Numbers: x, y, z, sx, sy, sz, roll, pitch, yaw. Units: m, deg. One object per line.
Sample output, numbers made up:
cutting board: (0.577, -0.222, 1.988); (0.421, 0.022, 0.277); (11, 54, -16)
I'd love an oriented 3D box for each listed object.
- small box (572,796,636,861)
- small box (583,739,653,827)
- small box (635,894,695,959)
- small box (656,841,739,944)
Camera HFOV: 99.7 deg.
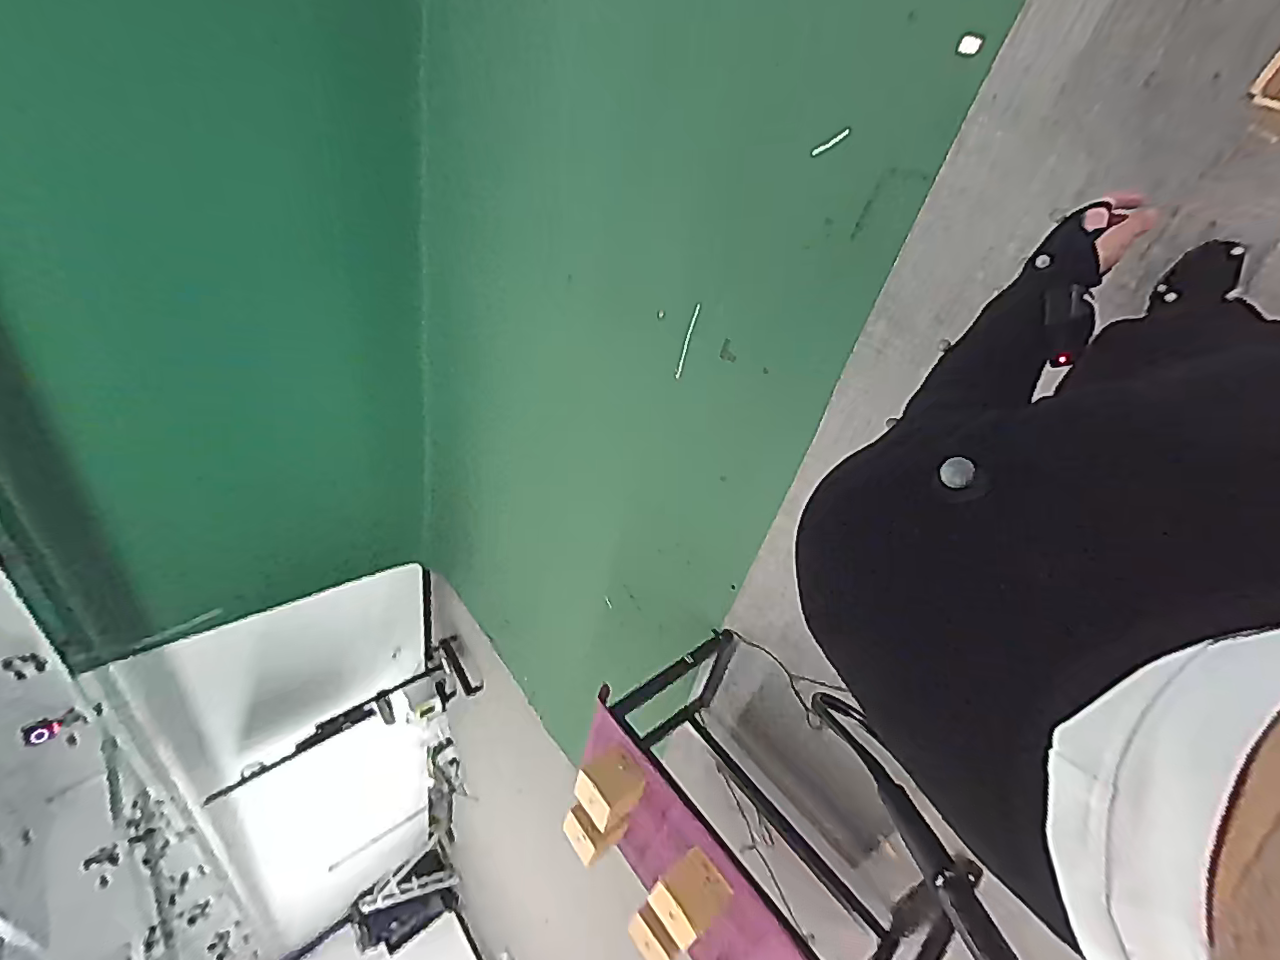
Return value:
small box: (-0.136, 1.293, 2.058); (0.168, 0.176, 0.179); (41, 133, 32)
small box: (-0.075, 1.047, 1.880); (0.168, 0.176, 0.179); (39, 131, 33)
small box: (0.111, 1.506, 1.845); (0.168, 0.176, 0.179); (40, 131, 33)
small box: (0.178, 1.266, 1.666); (0.168, 0.176, 0.179); (42, 134, 32)
